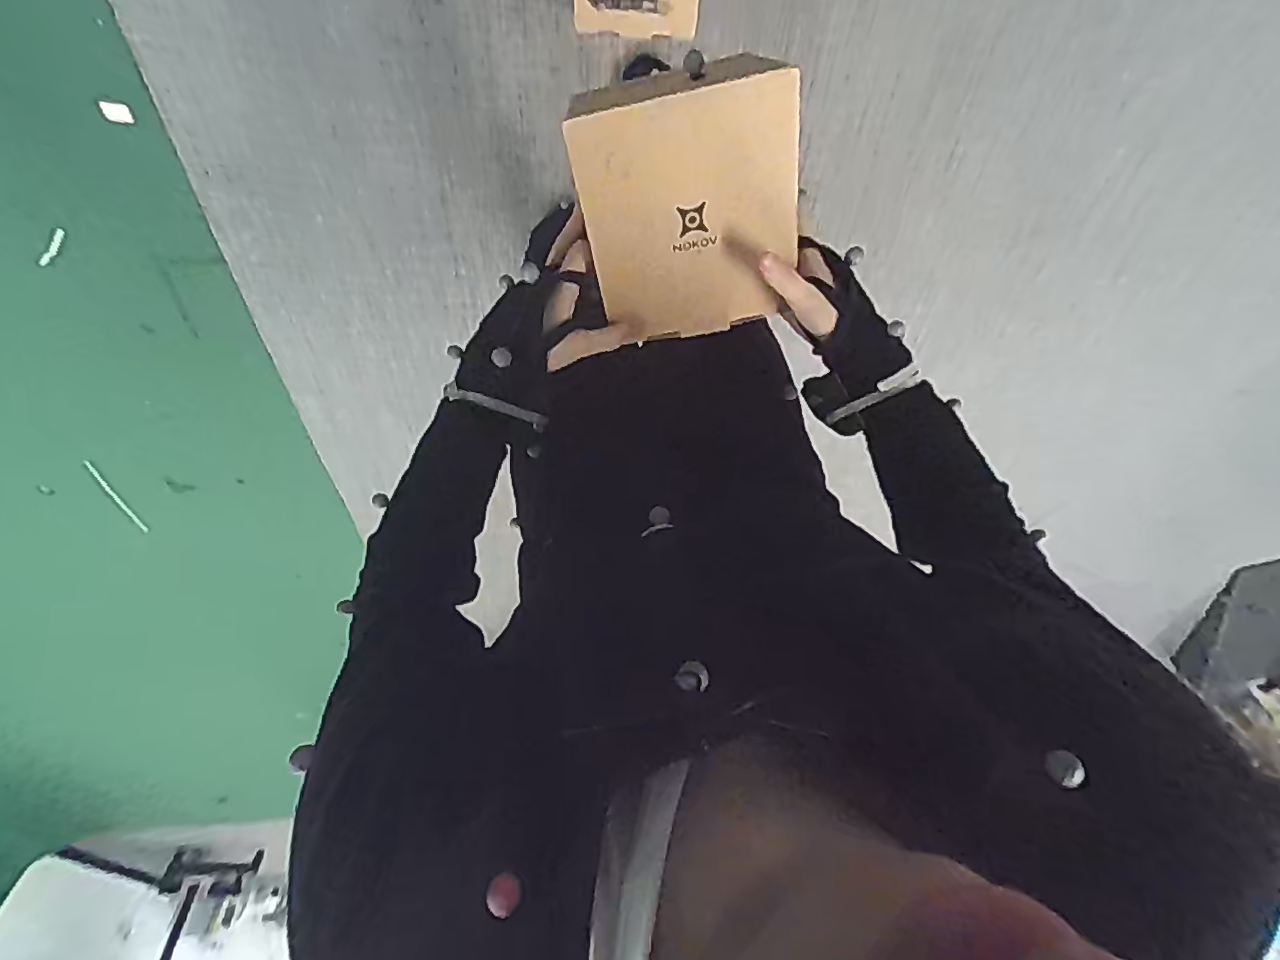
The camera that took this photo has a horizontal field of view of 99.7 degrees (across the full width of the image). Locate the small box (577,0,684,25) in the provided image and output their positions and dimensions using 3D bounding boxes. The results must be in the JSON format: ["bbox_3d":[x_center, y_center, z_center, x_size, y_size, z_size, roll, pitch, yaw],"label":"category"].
[{"bbox_3d":[-0.014,-0.833,0.836,0.168,0.176,0.179,1,136,-5],"label":"small box"}]
